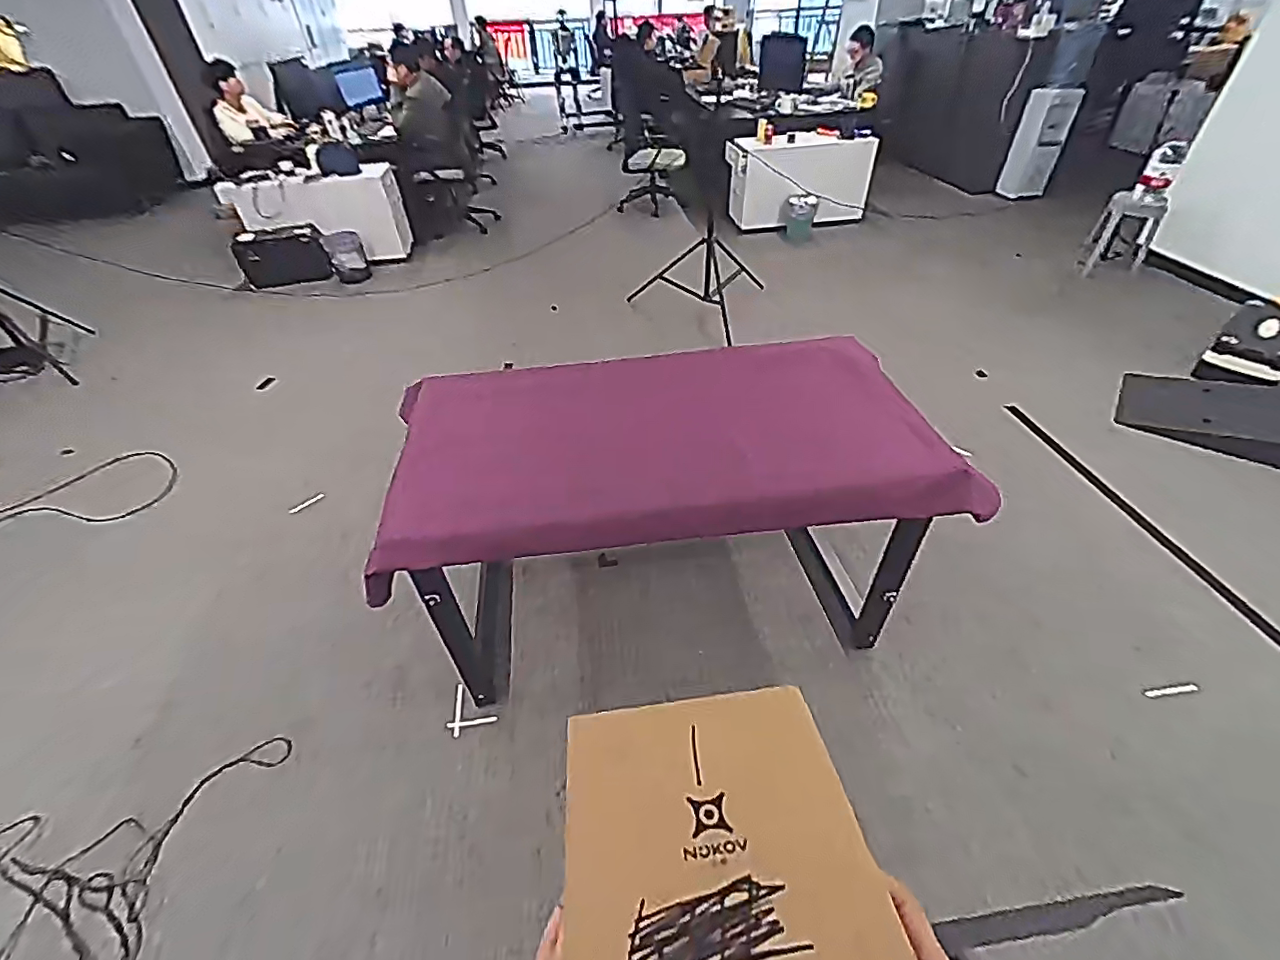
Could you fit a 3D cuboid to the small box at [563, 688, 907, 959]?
[{"bbox_3d":[0.047,0.270,0.347,0.168,0.176,0.179,-7,29,-2],"label":"small box"}]
